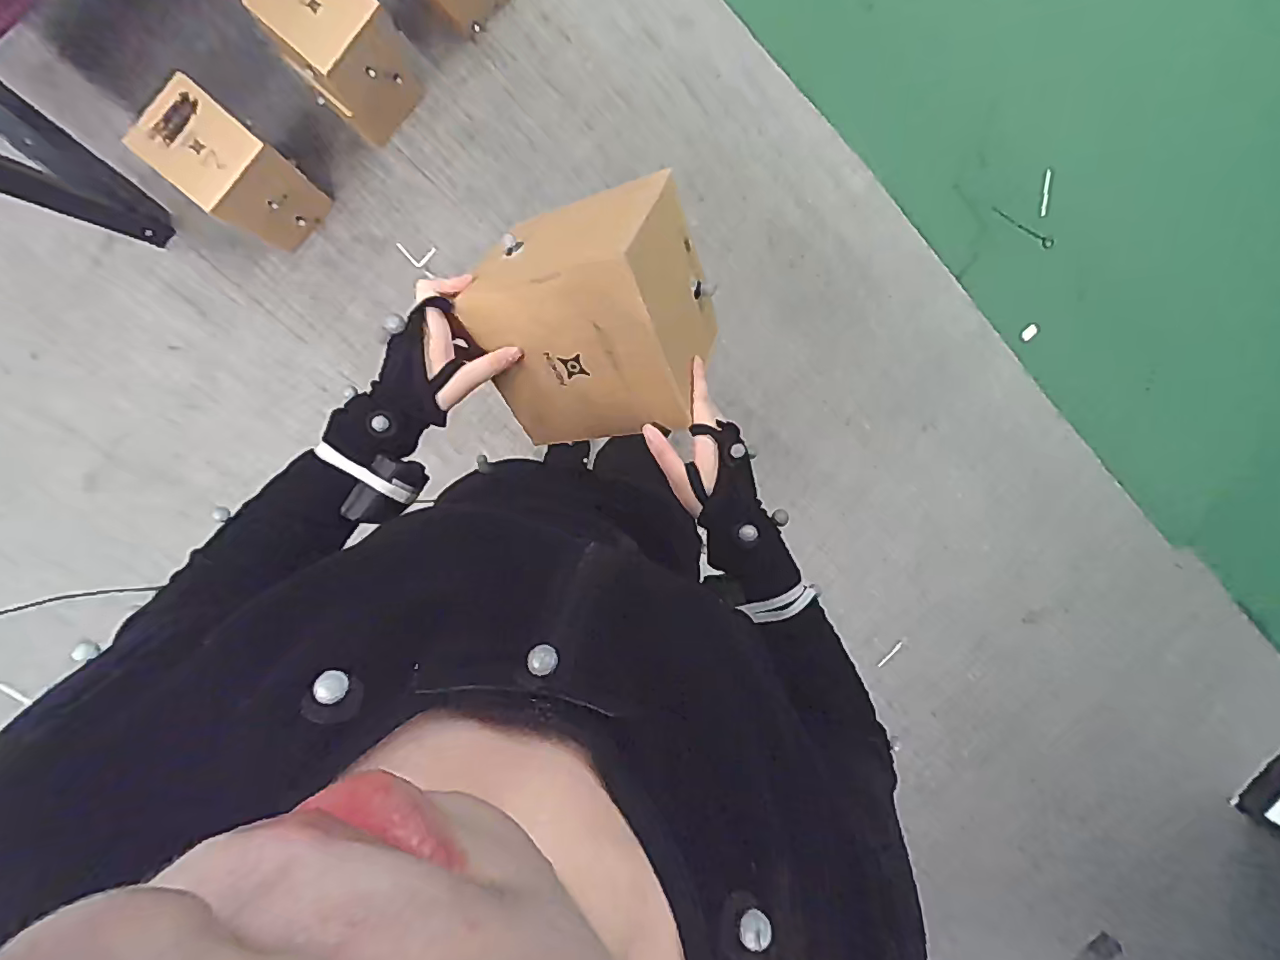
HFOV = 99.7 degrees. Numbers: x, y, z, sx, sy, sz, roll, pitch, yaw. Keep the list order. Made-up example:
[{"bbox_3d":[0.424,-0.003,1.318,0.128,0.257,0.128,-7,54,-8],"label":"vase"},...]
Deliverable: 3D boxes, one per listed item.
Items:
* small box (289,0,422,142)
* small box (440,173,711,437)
[{"bbox_3d":[-0.619,-0.906,1.205,0.168,0.176,0.179,41,93,-11],"label":"small box"},{"bbox_3d":[-0.046,-0.163,0.523,0.179,0.176,0.168,-3,136,25],"label":"small box"}]
